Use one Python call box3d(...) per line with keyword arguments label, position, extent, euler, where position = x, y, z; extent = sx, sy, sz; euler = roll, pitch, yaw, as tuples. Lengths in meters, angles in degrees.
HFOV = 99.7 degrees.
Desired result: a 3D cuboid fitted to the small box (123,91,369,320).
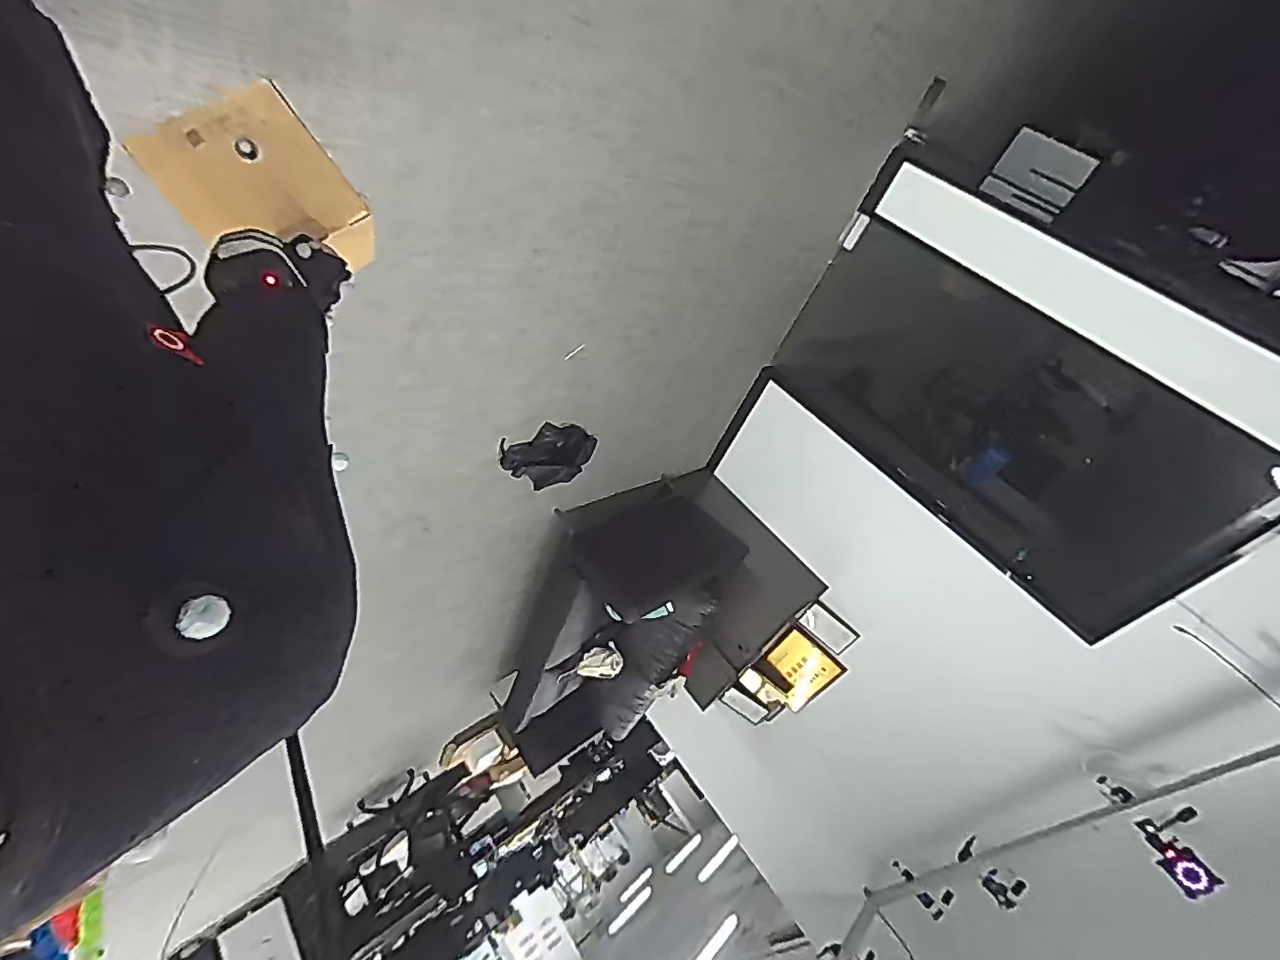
box3d(label="small box", position=(-0.467, -0.330, 0.673), extent=(0.168, 0.176, 0.179), euler=(-42, -161, -18))
